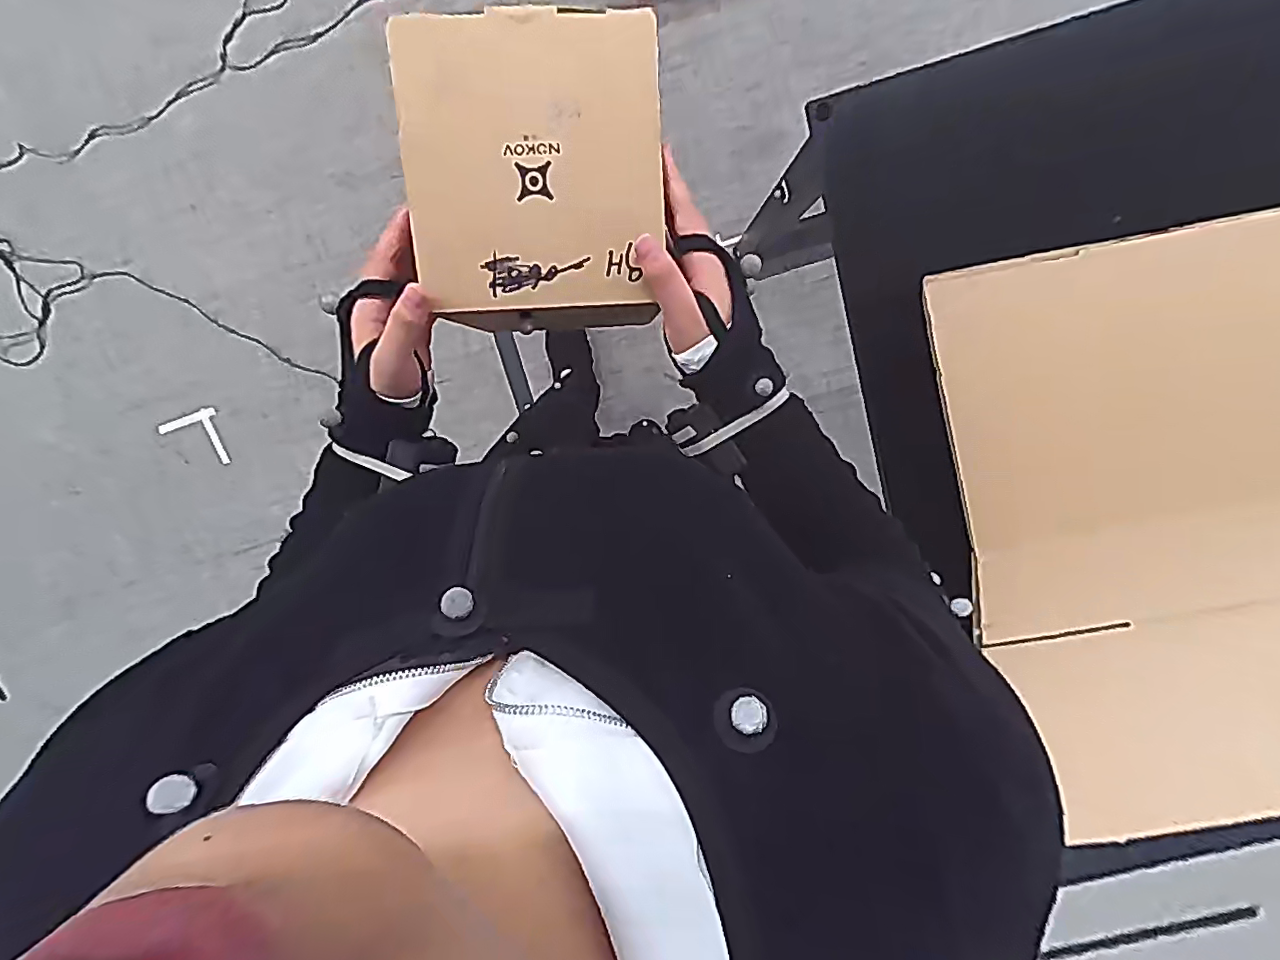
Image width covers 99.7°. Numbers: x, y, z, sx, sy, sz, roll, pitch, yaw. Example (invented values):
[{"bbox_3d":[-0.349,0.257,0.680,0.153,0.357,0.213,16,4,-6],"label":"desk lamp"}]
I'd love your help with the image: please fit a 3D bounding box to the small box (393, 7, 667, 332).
[{"bbox_3d":[-0.071,-0.217,0.424,0.168,0.176,0.179,-3,101,-2],"label":"small box"}]
